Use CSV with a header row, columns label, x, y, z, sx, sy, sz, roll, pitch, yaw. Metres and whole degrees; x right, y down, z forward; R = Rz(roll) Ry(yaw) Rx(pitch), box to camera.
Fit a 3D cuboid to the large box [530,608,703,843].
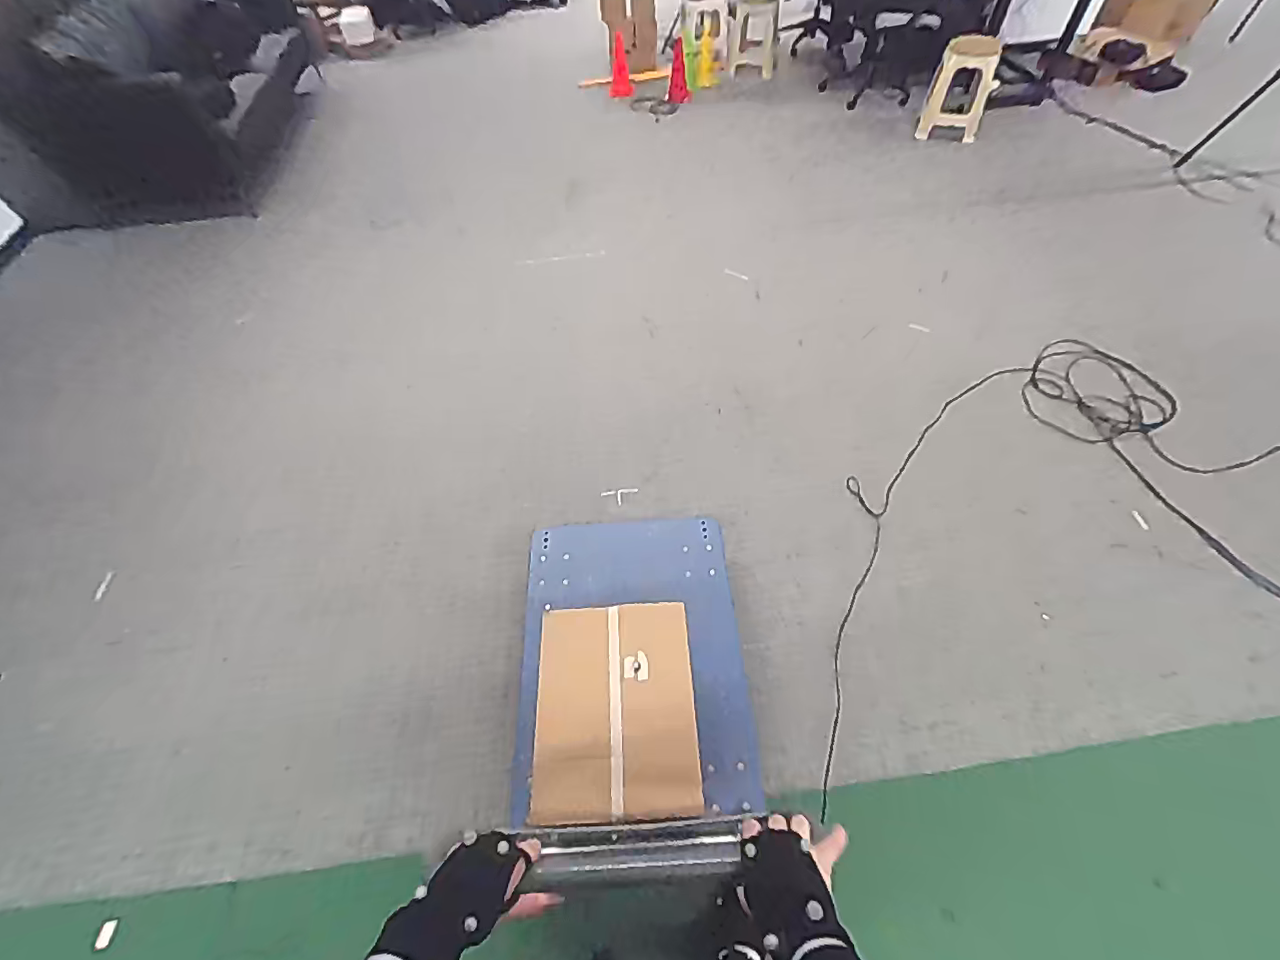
label,x,y,z,sx,sy,sz,roll,pitch,yaw
large box,-0.047,0.541,1.190,0.320,0.320,0.408,-3,53,-1
